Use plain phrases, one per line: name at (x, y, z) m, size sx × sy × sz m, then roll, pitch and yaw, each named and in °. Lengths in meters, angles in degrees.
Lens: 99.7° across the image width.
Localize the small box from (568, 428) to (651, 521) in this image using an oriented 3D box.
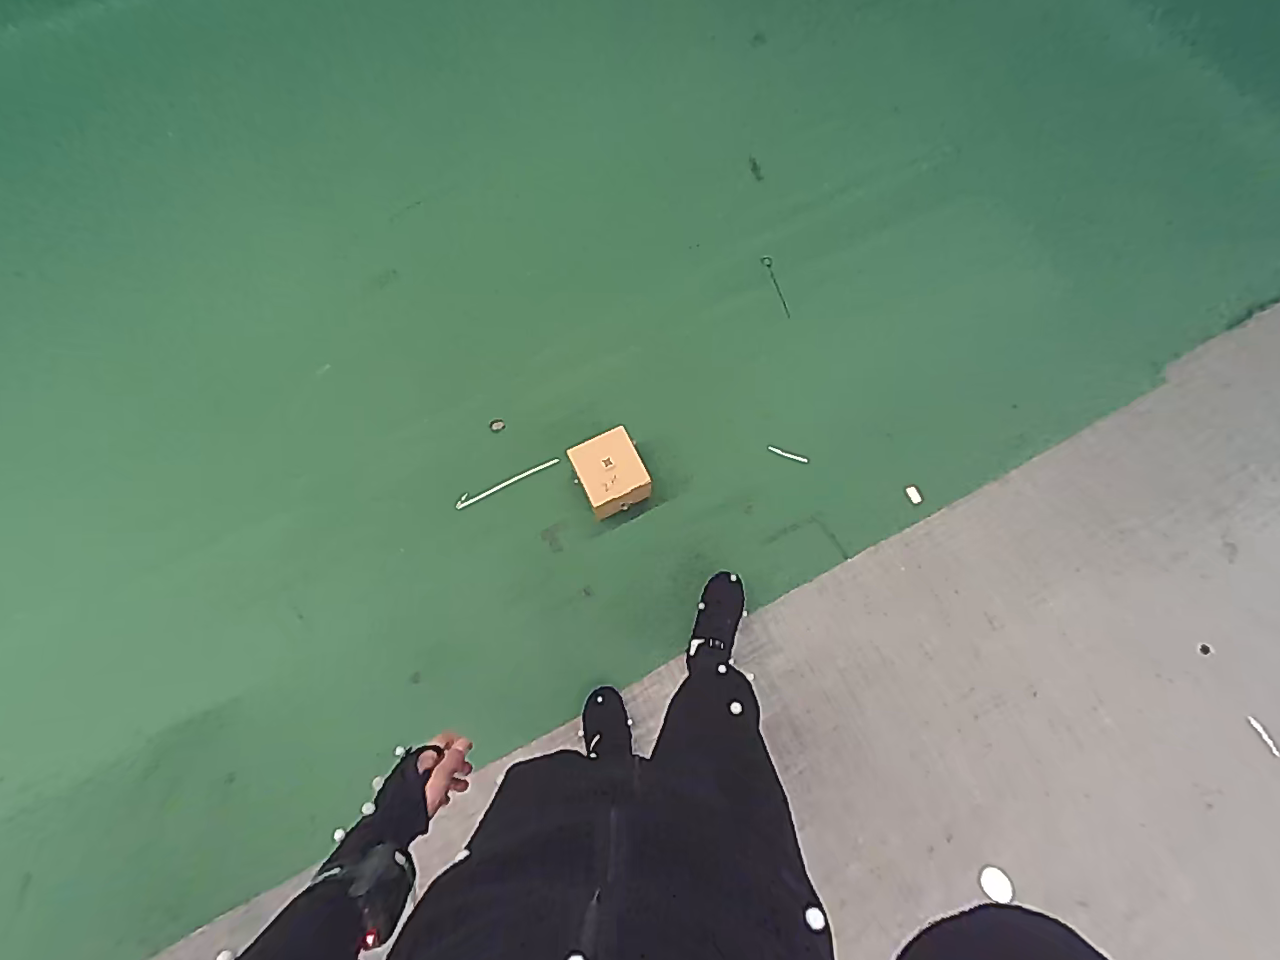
small box at (-0.084, -0.009, 1.482) m, size 0.168 × 0.176 × 0.179 m, roll -25°, pitch 76°, yaw -8°
